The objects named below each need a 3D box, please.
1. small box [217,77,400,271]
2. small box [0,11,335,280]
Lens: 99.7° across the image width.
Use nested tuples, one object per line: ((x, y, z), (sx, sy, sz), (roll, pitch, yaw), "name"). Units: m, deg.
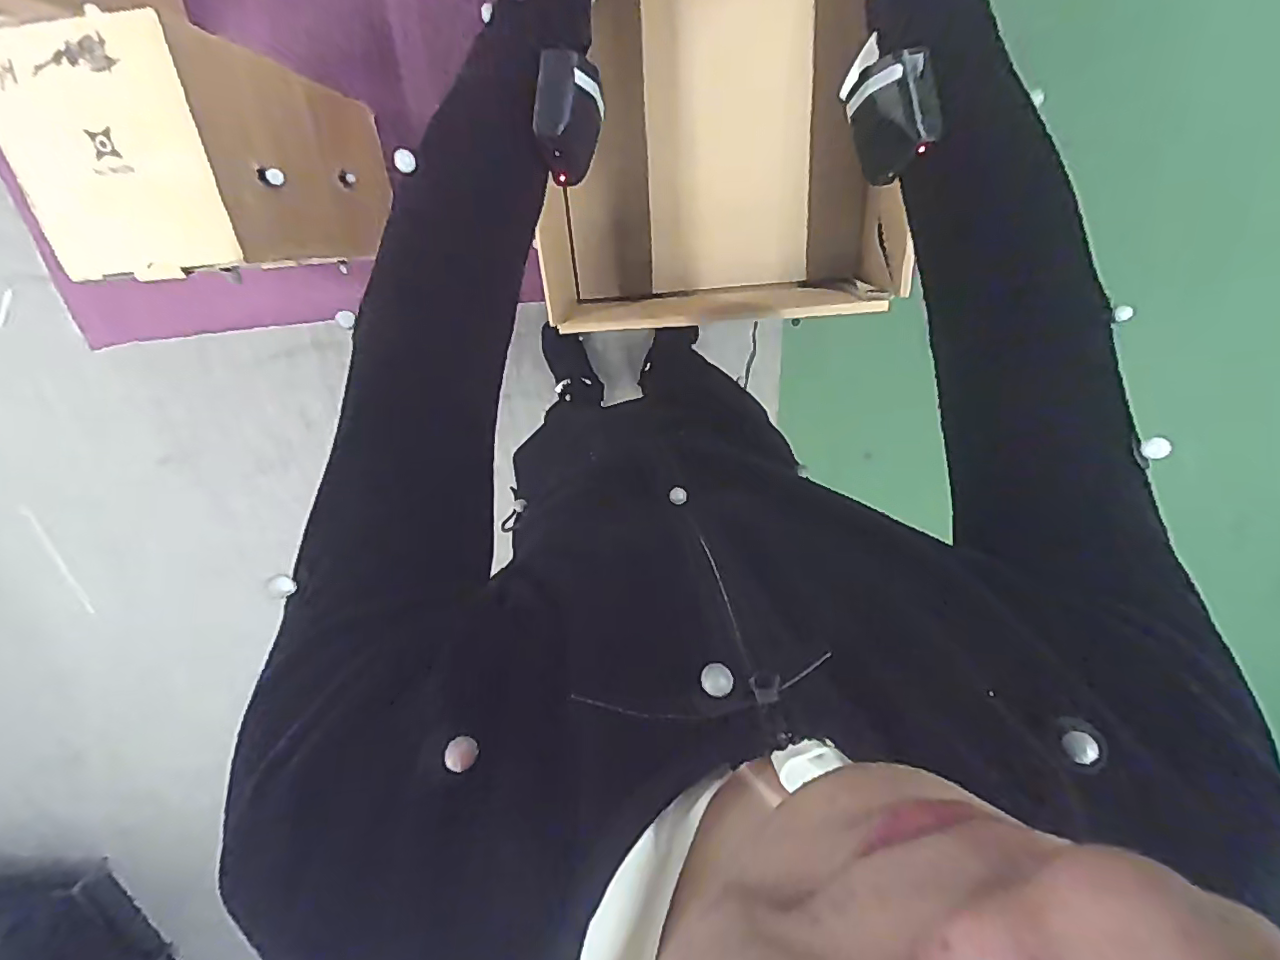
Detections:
((-0.416, -0.355, 0.654), (0.168, 0.176, 0.179), (-3, 112, 3), "small box")
((-0.422, -0.291, 0.502), (0.168, 0.176, 0.179), (-4, 114, 3), "small box")
